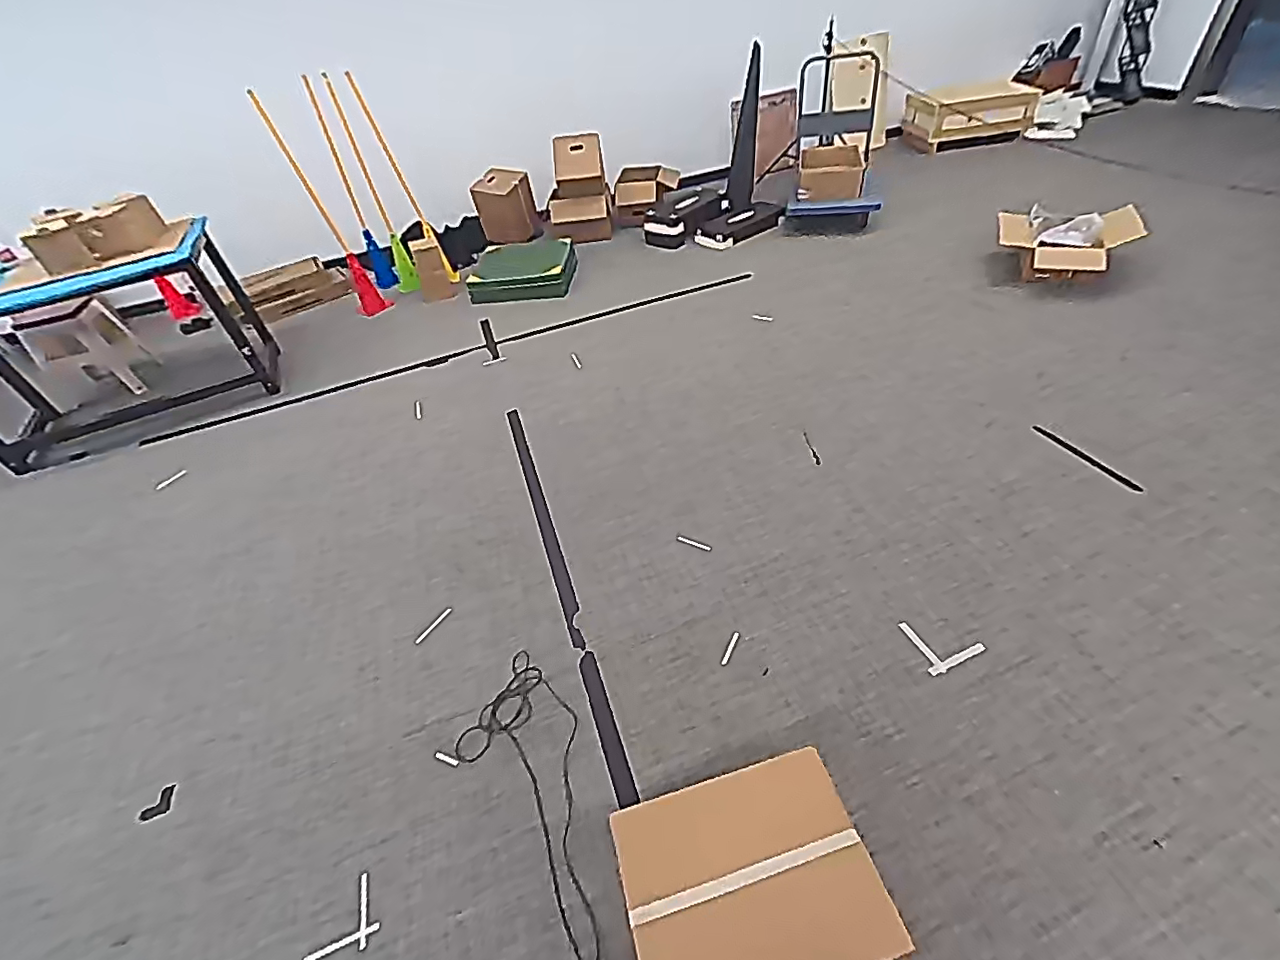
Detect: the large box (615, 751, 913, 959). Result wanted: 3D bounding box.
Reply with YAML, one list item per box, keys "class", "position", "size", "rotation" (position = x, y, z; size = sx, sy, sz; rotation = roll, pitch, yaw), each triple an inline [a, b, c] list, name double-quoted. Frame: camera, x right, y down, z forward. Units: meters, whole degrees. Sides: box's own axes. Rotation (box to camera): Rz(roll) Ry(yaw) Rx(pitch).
- class: "large box"
  position: [0.201, 0.769, 0.989]
  size: [0.408, 0.320, 0.320]
  rotation: [-15, 42, -7]
